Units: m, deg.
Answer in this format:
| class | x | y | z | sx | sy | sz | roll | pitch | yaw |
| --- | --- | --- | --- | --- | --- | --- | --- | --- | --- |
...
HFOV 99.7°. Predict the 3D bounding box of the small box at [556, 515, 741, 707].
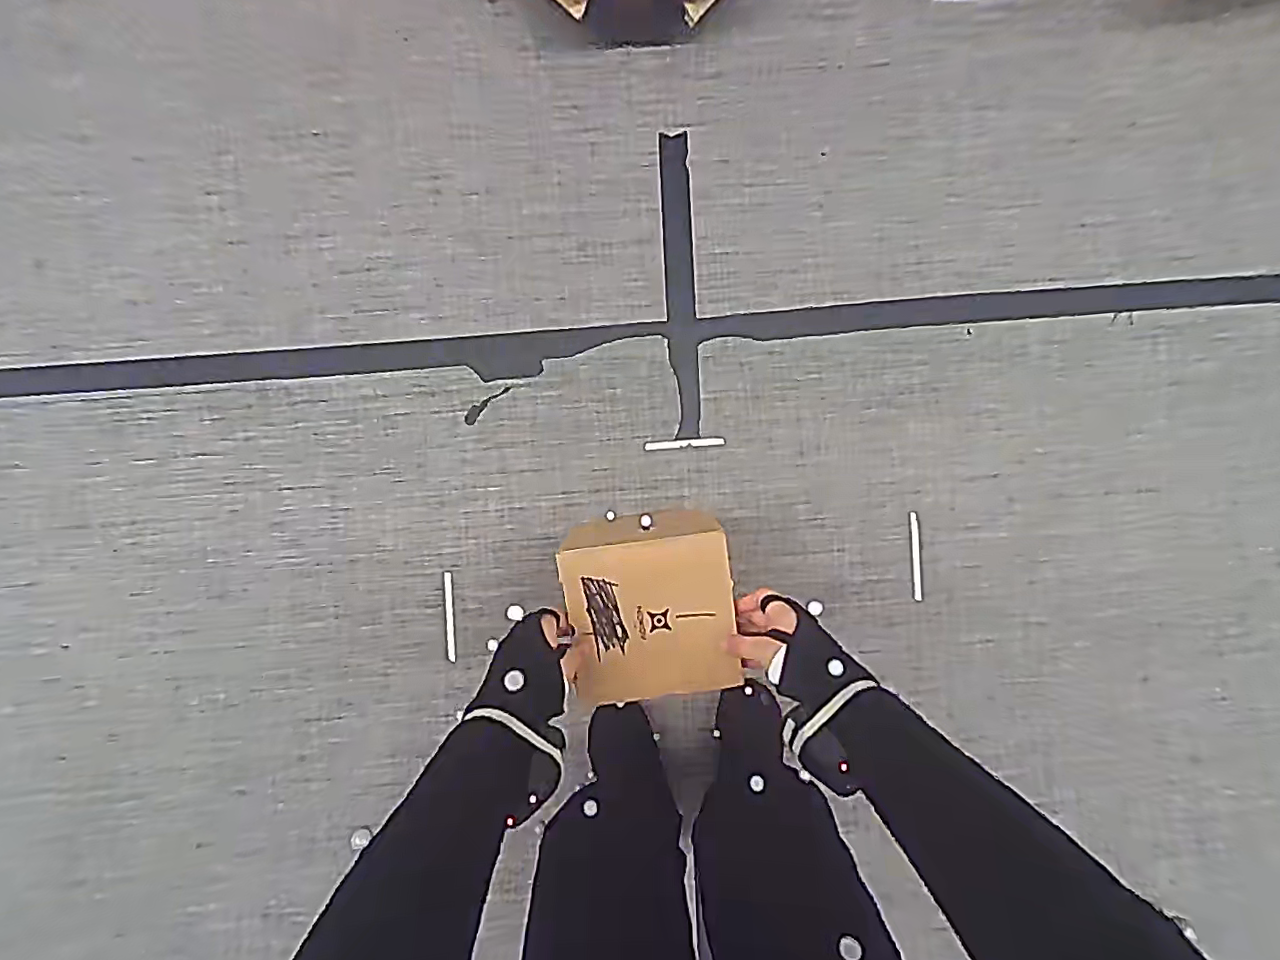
| class | x | y | z | sx | sy | sz | roll | pitch | yaw |
| --- | --- | --- | --- | --- | --- | --- | --- | --- | --- |
| small box | 0.010 | 0.139 | 0.631 | 0.179 | 0.176 | 0.168 | -7 | 95 | 0 |
